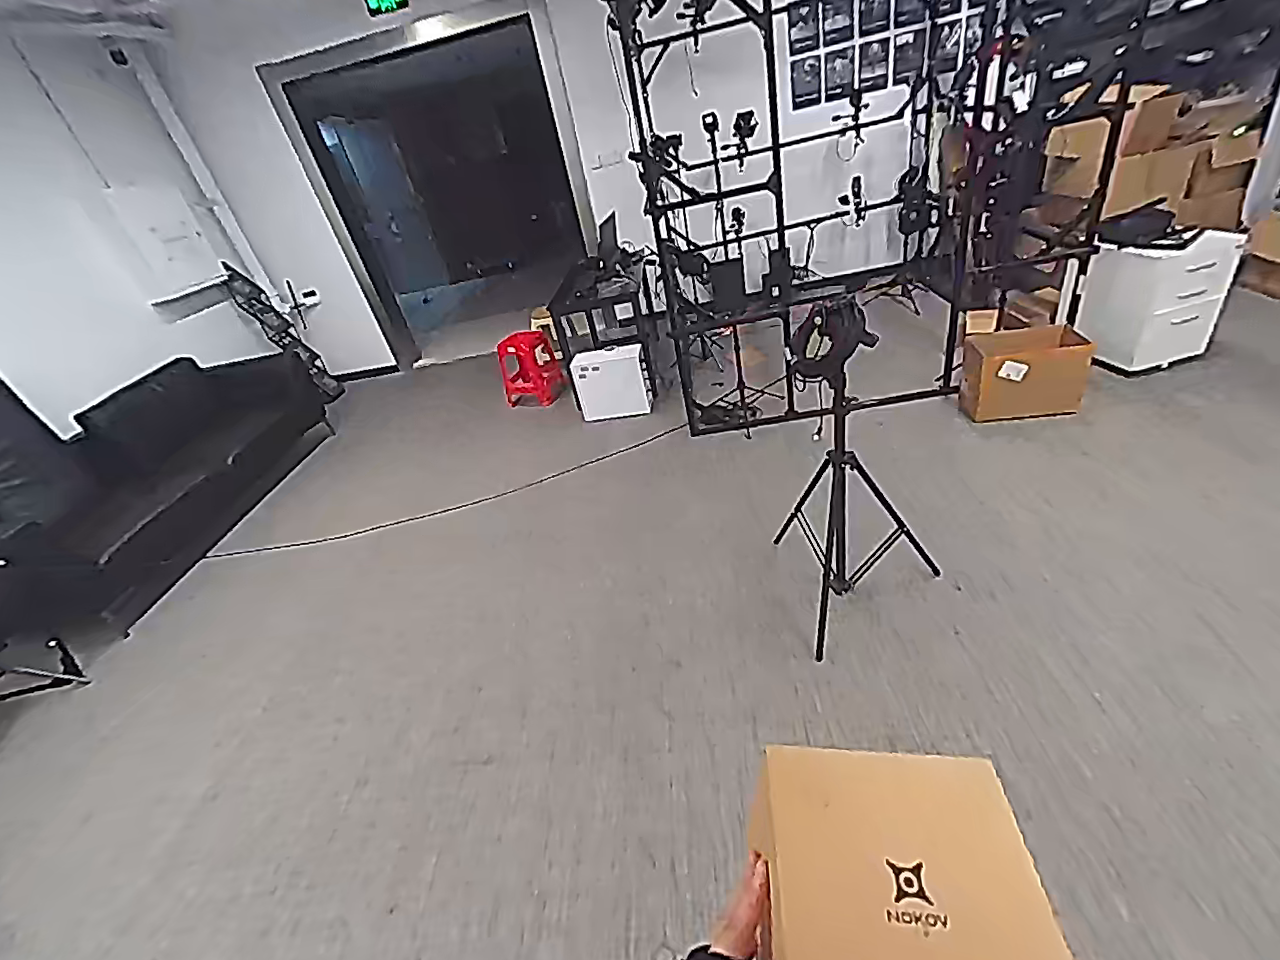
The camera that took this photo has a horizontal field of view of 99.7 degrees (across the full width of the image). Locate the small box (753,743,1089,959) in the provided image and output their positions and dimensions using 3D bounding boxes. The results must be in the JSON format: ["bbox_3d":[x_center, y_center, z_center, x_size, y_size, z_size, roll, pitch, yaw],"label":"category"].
[{"bbox_3d":[0.175,0.315,0.379,0.168,0.176,0.179,1,38,5],"label":"small box"}]
